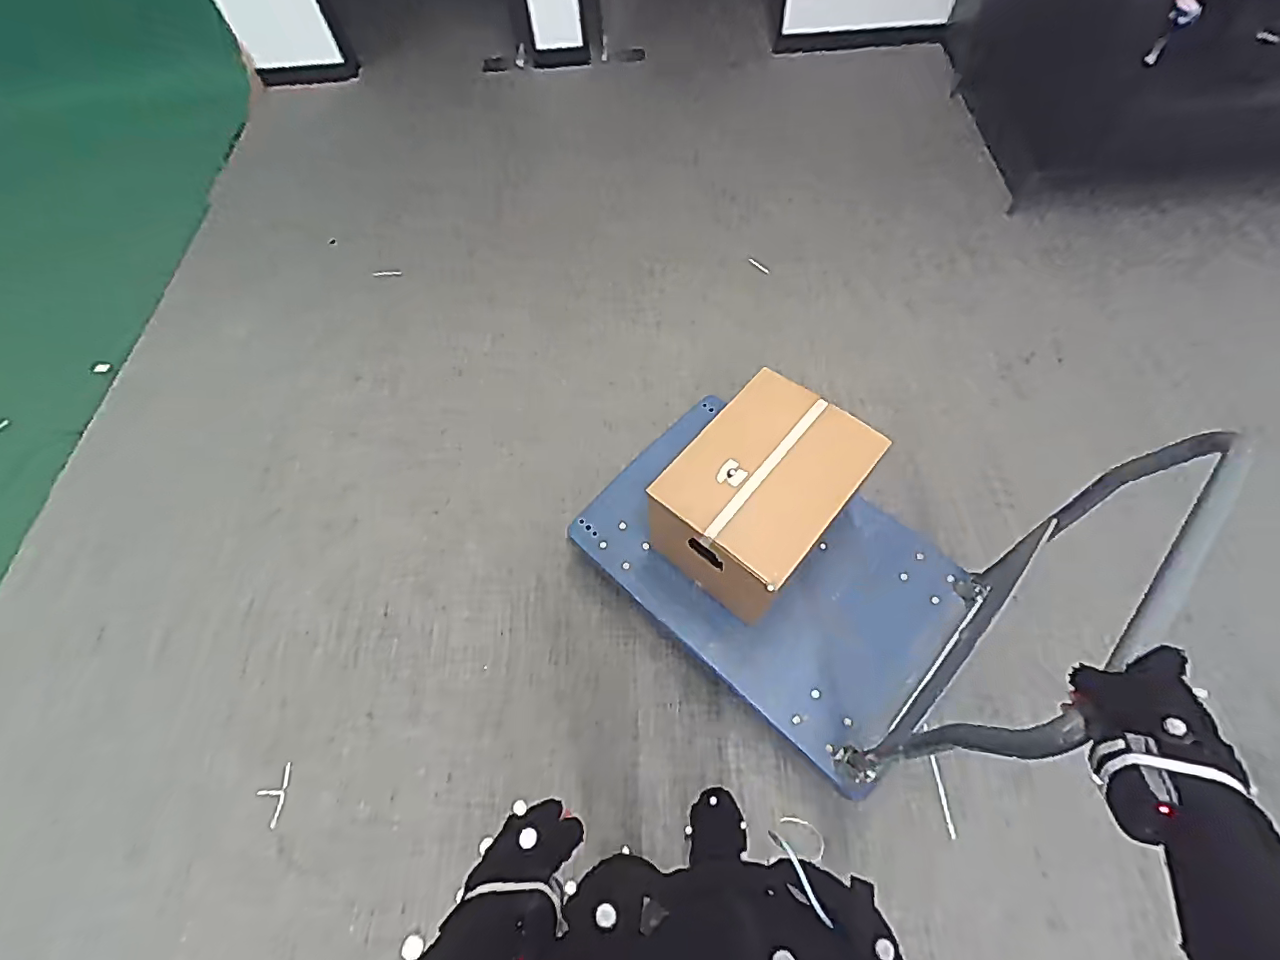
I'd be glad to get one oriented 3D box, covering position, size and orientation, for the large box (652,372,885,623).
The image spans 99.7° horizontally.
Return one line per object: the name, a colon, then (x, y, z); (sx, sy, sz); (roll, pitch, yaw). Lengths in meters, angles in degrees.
large box: (0.270, 0.045, 1.219); (0.320, 0.320, 0.408); (37, 70, 20)
